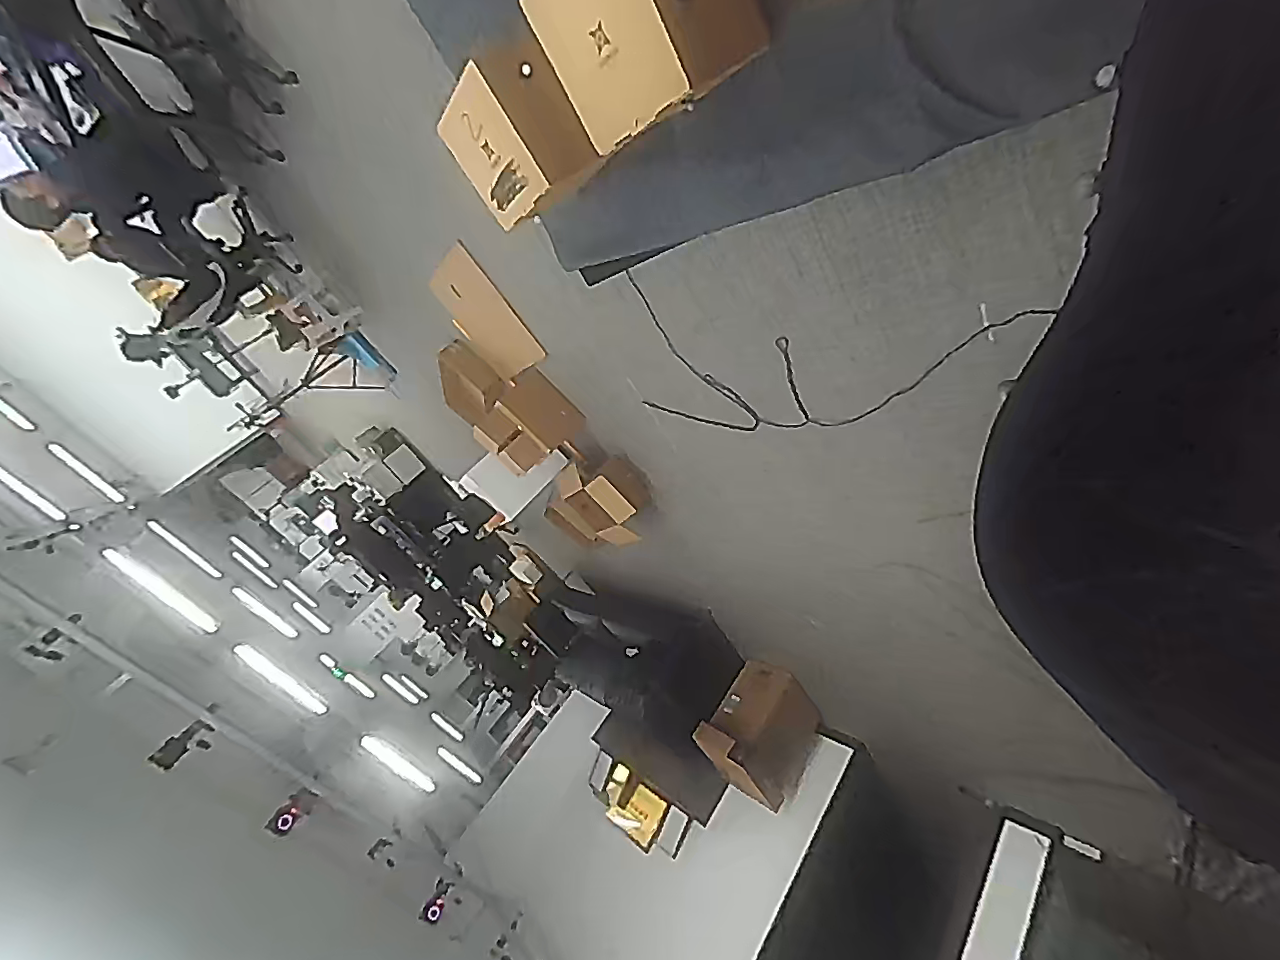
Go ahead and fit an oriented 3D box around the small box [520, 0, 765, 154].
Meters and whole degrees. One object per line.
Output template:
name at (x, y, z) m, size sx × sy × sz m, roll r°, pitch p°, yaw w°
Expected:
small box at (0.008, -0.516, 0.604) m, size 0.168 × 0.176 × 0.179 m, roll 3°, pitch 135°, yaw 50°
